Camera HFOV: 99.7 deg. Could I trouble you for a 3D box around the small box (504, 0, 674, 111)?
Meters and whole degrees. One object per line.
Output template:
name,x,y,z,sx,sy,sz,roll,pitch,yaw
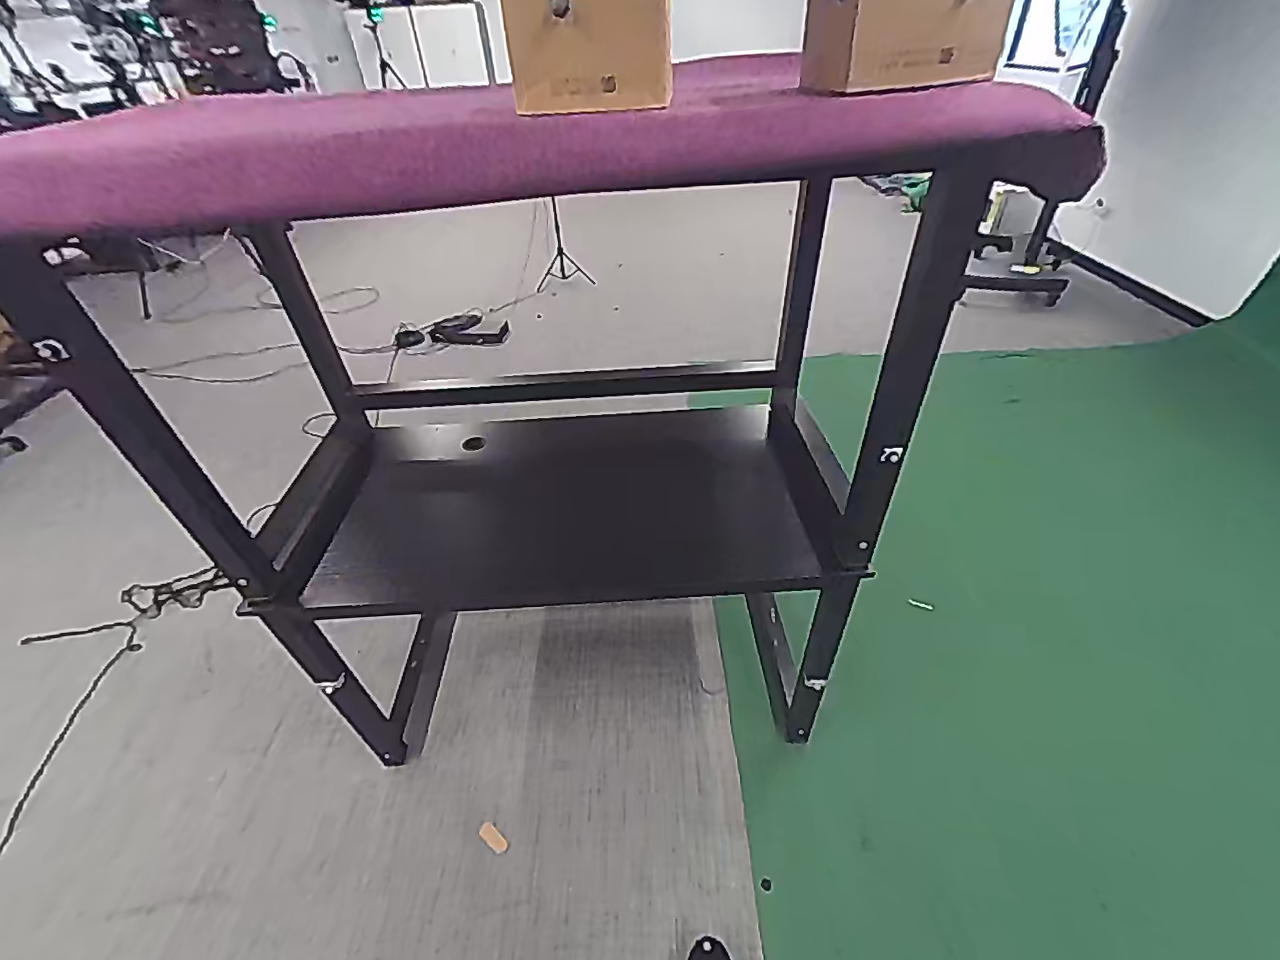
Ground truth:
small box,-0.048,-0.515,0.598,0.168,0.176,0.179,1,38,4

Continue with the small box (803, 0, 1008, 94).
small box,0.294,-0.540,0.603,0.168,0.176,0.179,-4,37,-1
